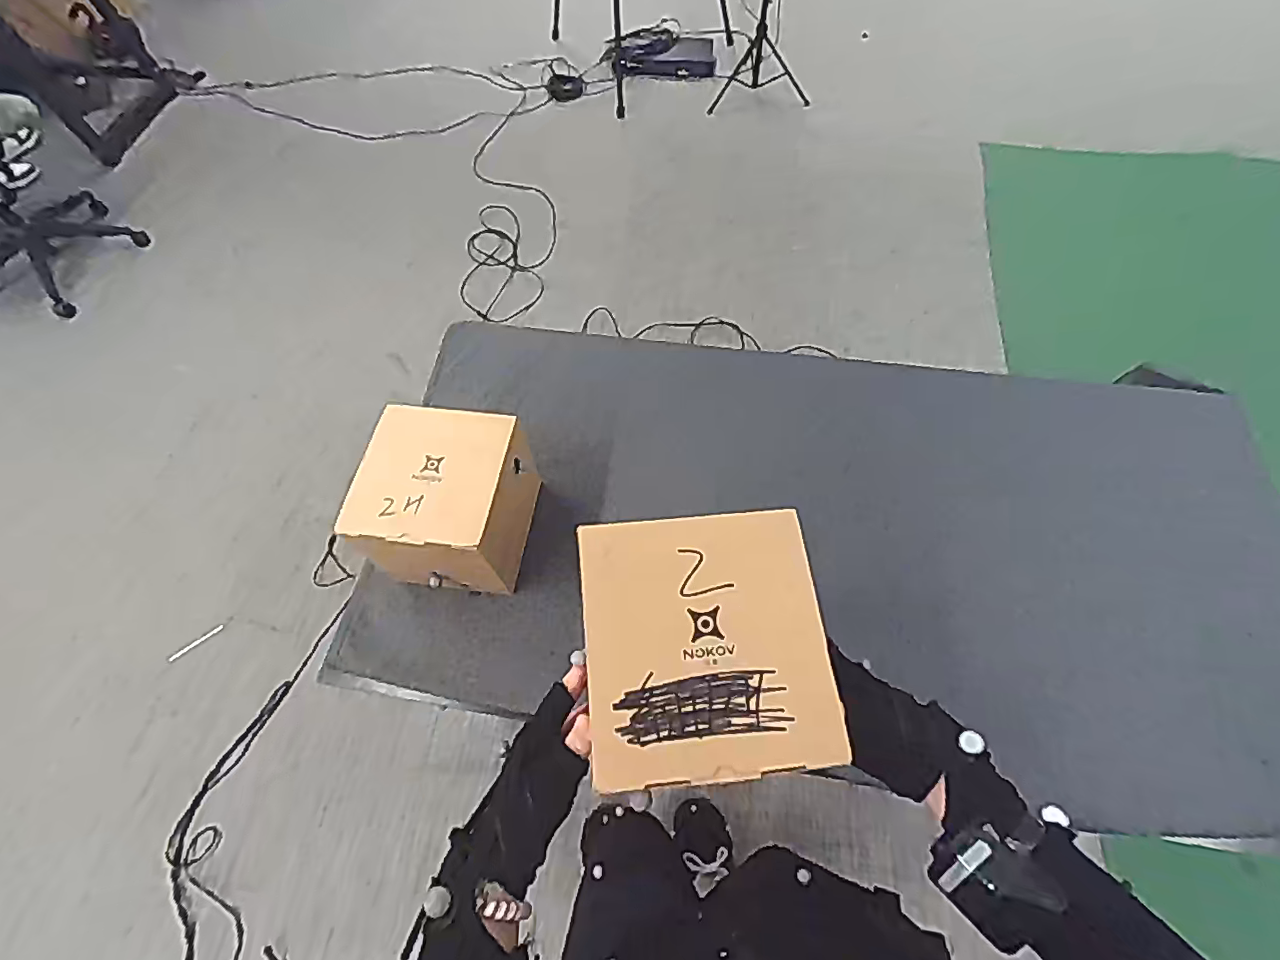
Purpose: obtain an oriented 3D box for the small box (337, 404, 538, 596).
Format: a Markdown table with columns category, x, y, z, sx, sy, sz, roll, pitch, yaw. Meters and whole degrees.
| category | x | y | z | sx | sy | sz | roll | pitch | yaw |
| --- | --- | --- | --- | --- | --- | --- | --- | --- | --- |
| small box | -0.235 | 0.029 | 0.685 | 0.168 | 0.176 | 0.179 | 6 | 61 | 5 |
